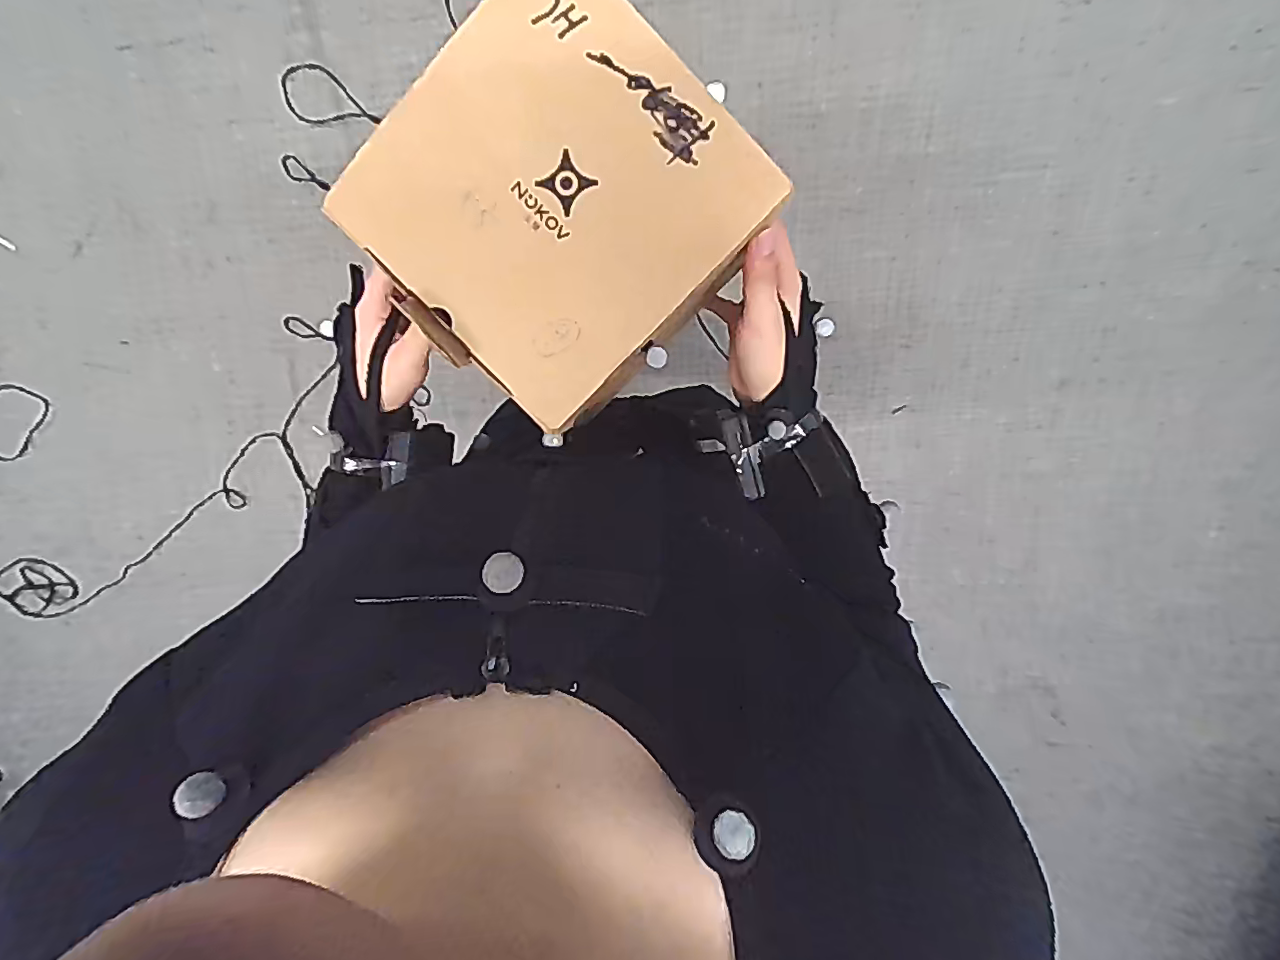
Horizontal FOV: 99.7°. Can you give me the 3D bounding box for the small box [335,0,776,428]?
[{"bbox_3d":[-0.041,-0.154,0.356,0.168,0.176,0.179,45,98,-5],"label":"small box"}]
